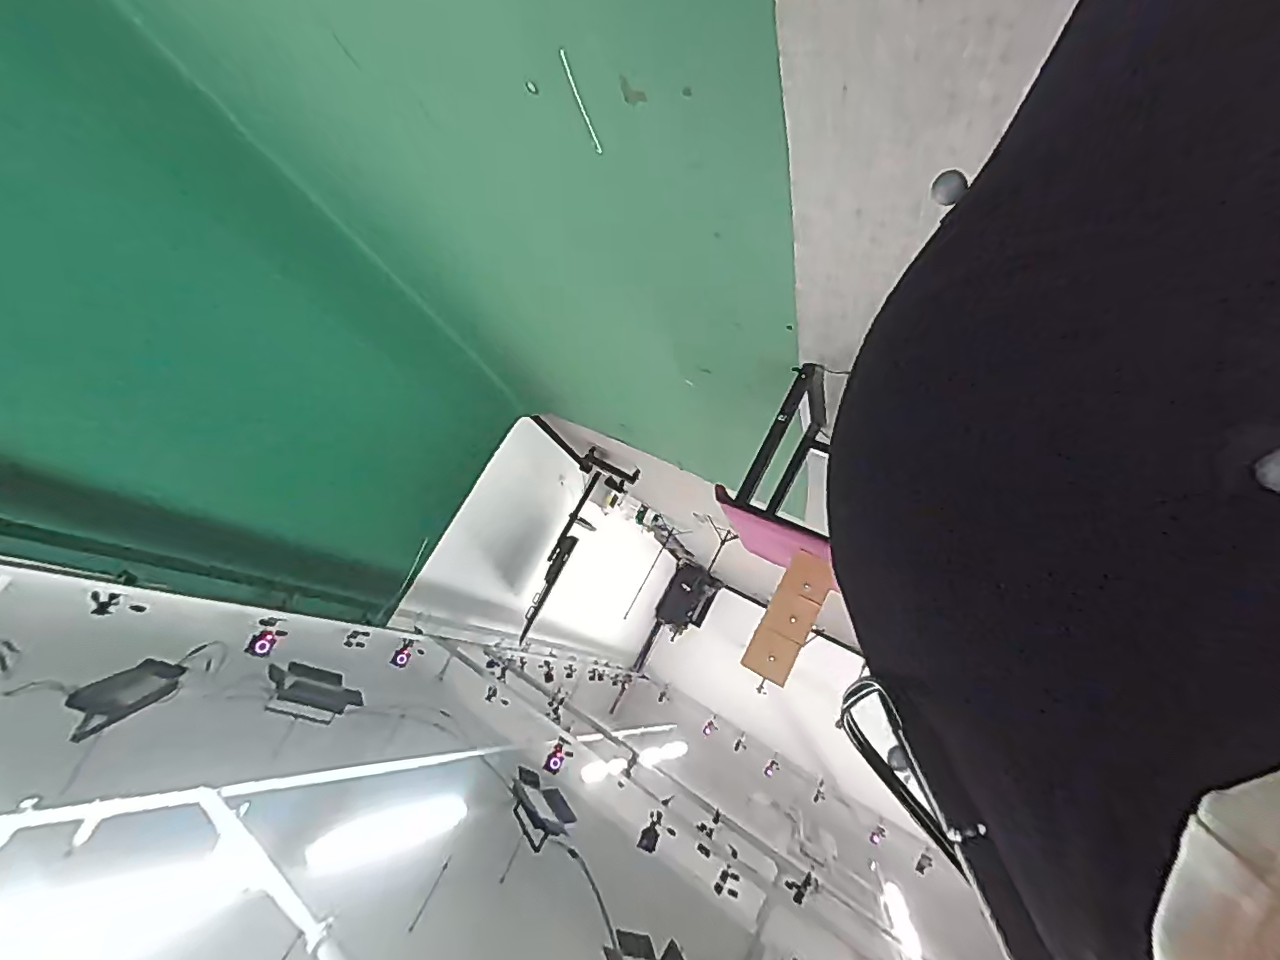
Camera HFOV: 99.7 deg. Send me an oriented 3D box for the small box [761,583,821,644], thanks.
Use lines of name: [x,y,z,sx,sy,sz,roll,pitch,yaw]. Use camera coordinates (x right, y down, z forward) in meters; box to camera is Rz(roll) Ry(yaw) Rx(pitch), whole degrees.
small box: [0.581,0.516,2.088,0.179,0.176,0.168,24,168,19]

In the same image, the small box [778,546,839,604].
small box: [0.659,0.376,2.119,0.179,0.176,0.168,26,169,16]

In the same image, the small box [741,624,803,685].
small box: [0.503,0.659,2.060,0.179,0.176,0.168,24,168,20]
